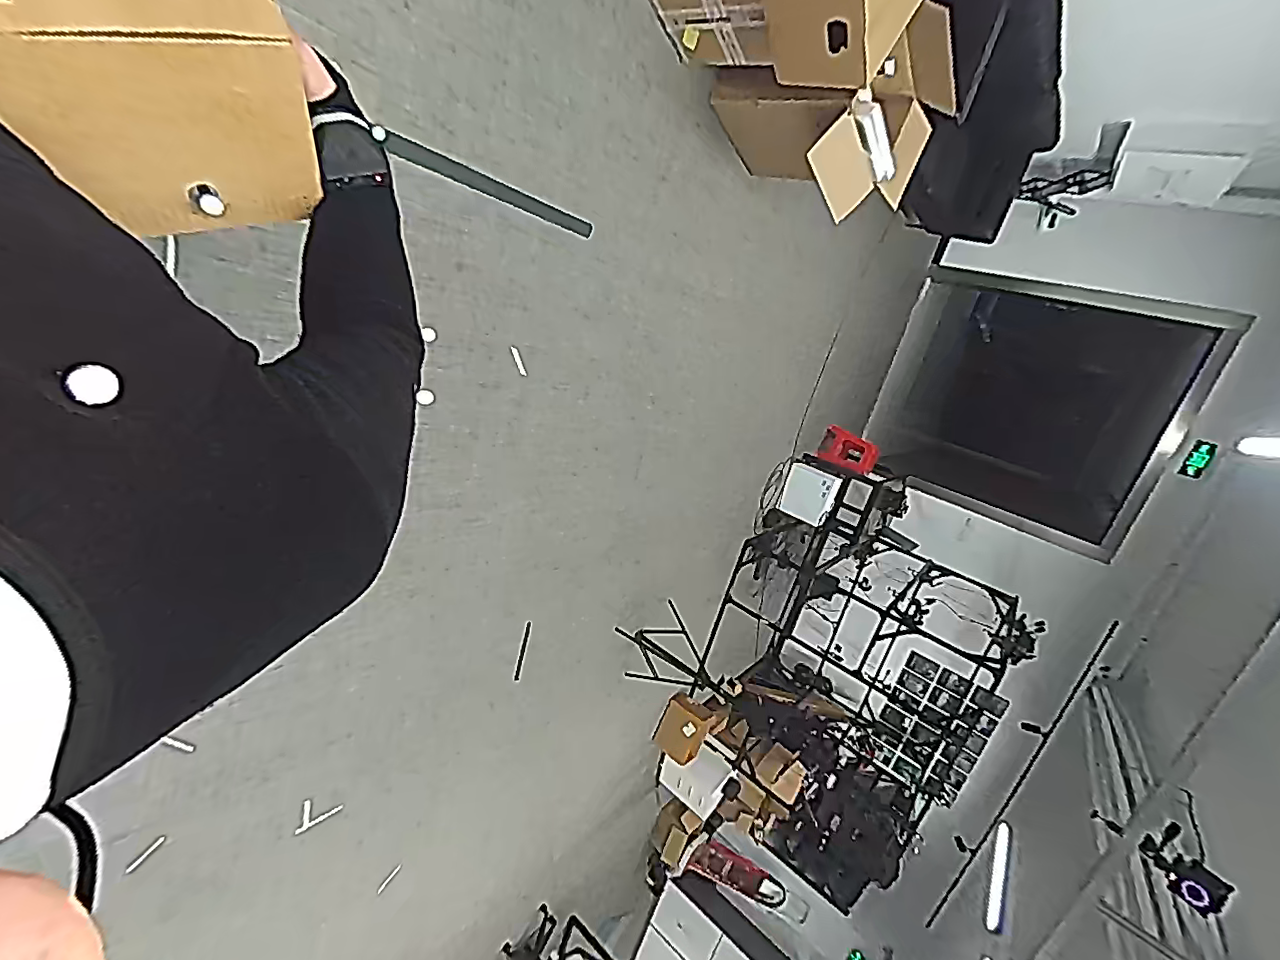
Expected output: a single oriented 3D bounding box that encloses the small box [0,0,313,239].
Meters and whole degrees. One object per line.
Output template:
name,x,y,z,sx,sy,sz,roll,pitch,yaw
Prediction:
small box,-0.377,-0.318,0.419,0.179,0.168,0.176,-24,174,-28
